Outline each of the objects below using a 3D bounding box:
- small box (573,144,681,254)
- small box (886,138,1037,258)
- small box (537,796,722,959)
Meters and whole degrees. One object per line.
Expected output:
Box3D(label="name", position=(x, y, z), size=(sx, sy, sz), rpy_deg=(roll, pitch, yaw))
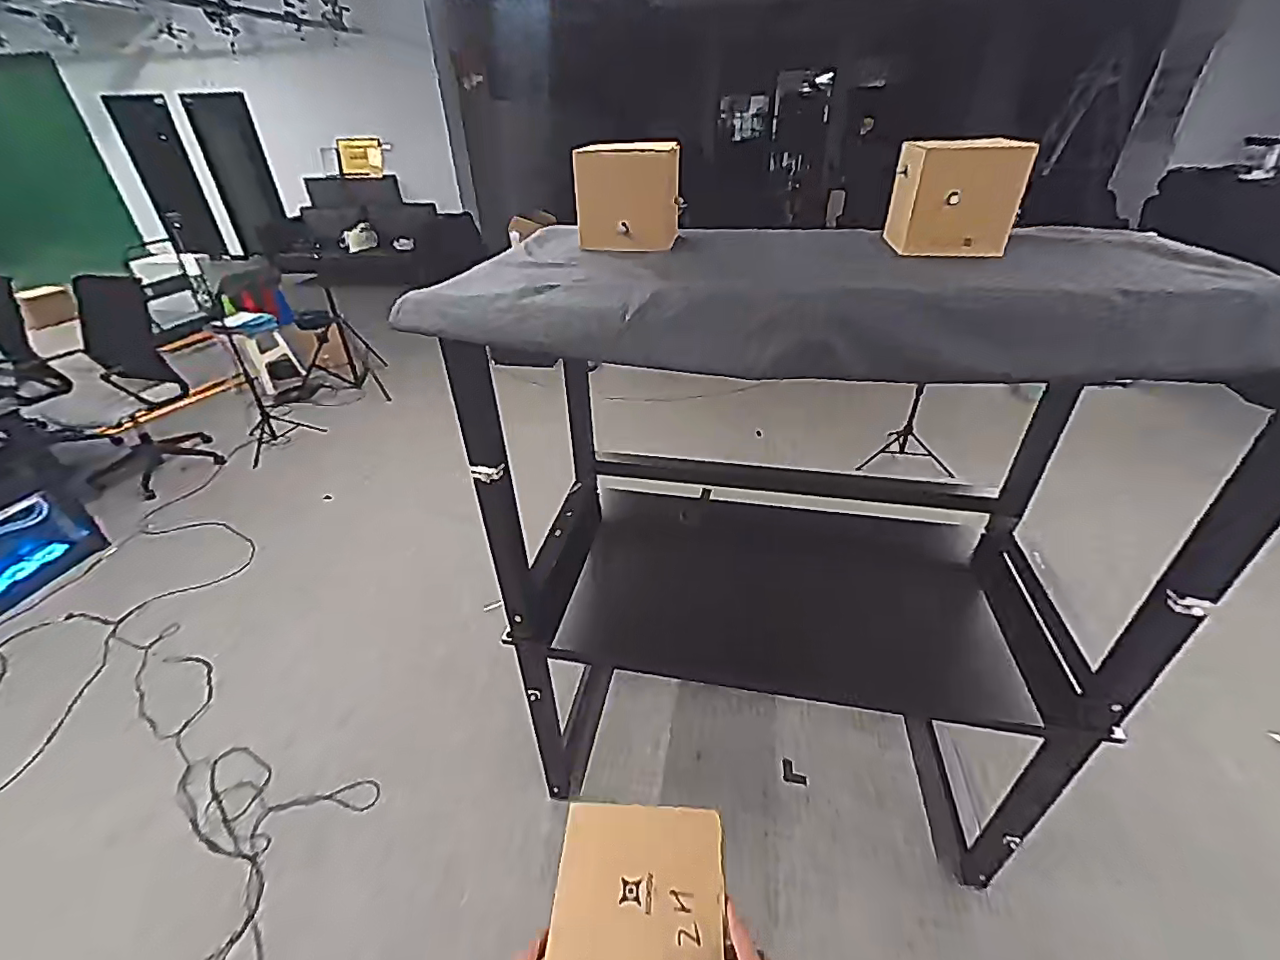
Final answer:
Box3D(label="small box", position=(-0.019, -0.540, 1.042), size=(0.179, 0.176, 0.168), rpy_deg=(5, 35, 8))
Box3D(label="small box", position=(0.550, -0.495, 0.953), size=(0.168, 0.176, 0.179), rpy_deg=(4, 35, 10))
Box3D(label="small box", position=(0.000, 0.478, 0.601), size=(0.179, 0.176, 0.168), rpy_deg=(0, 39, 6))
